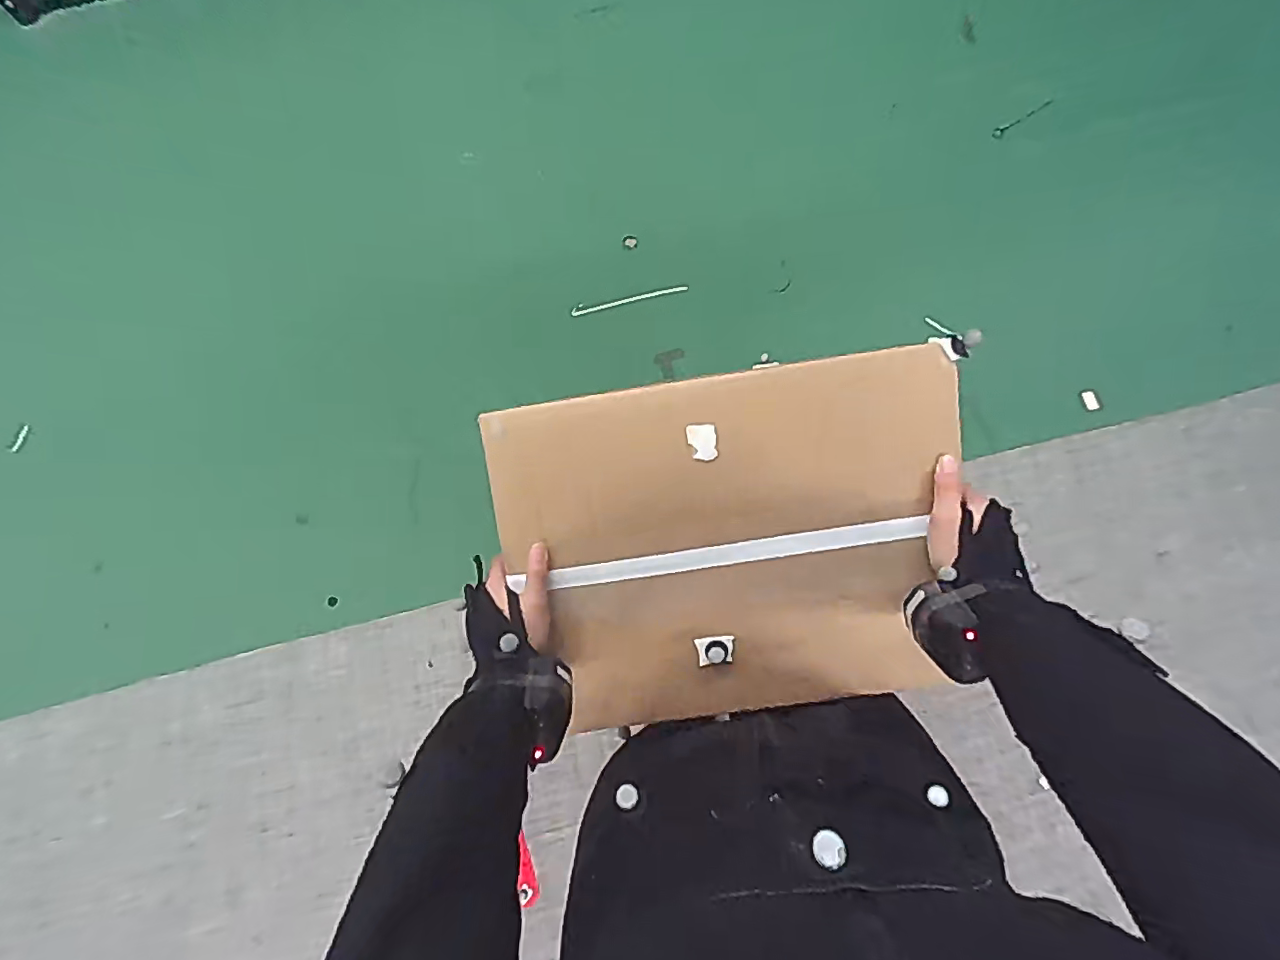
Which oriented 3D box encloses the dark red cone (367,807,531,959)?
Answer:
[{"bbox_3d":[-0.340,0.725,0.908,0.202,0.394,0.201,-22,72,-3],"label":"dark red cone"}]
